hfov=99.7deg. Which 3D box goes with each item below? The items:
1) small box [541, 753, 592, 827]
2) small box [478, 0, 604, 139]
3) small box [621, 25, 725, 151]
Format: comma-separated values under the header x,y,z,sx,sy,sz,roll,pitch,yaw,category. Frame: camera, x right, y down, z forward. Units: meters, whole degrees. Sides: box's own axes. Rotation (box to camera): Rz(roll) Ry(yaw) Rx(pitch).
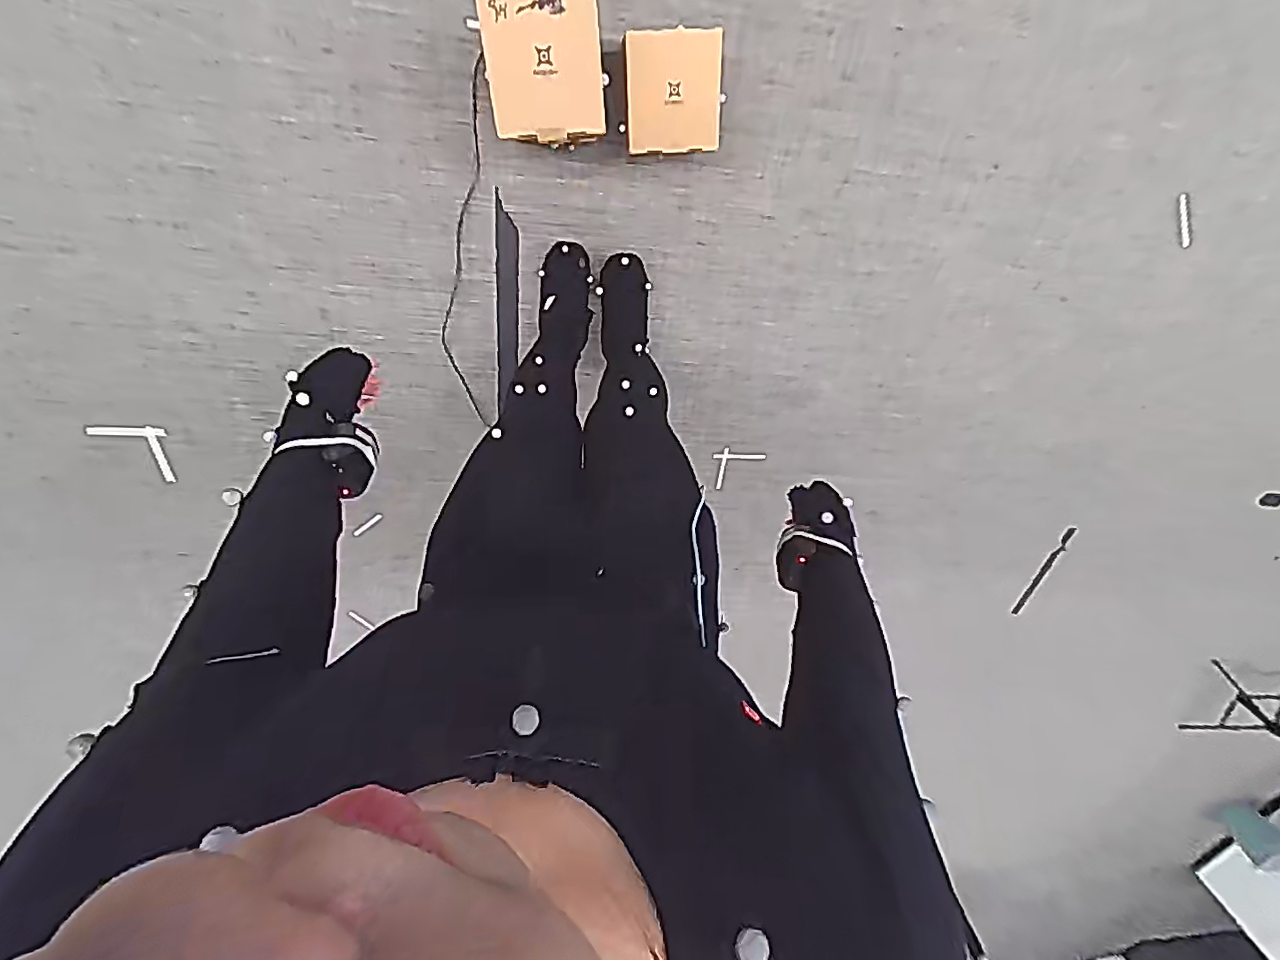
x,y,z,sx,sy,sz,roll,pitch,yaw,category
-0.255,1.070,1.876,0.168,0.176,0.179,2,123,-7,small box
-0.143,-0.638,0.836,0.168,0.176,0.179,-5,123,-4,small box
0.054,-0.717,1.004,0.168,0.176,0.179,-5,123,-4,small box
